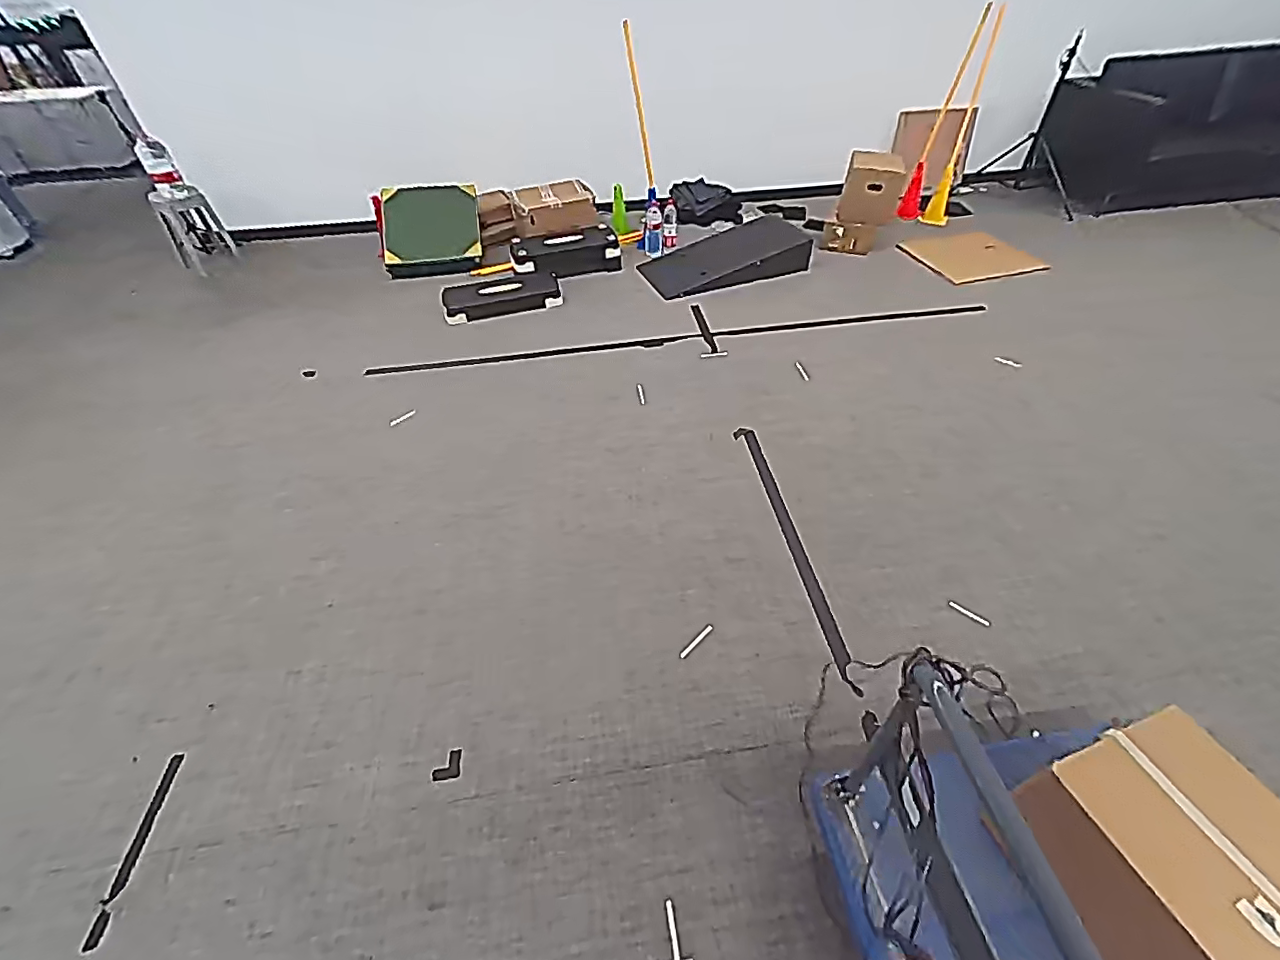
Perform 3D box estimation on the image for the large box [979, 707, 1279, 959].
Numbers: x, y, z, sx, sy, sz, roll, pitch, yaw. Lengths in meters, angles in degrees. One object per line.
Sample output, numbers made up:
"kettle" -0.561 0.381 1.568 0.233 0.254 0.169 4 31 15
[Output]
"large box" 0.919 0.692 0.946 0.320 0.320 0.408 -16 47 -13
